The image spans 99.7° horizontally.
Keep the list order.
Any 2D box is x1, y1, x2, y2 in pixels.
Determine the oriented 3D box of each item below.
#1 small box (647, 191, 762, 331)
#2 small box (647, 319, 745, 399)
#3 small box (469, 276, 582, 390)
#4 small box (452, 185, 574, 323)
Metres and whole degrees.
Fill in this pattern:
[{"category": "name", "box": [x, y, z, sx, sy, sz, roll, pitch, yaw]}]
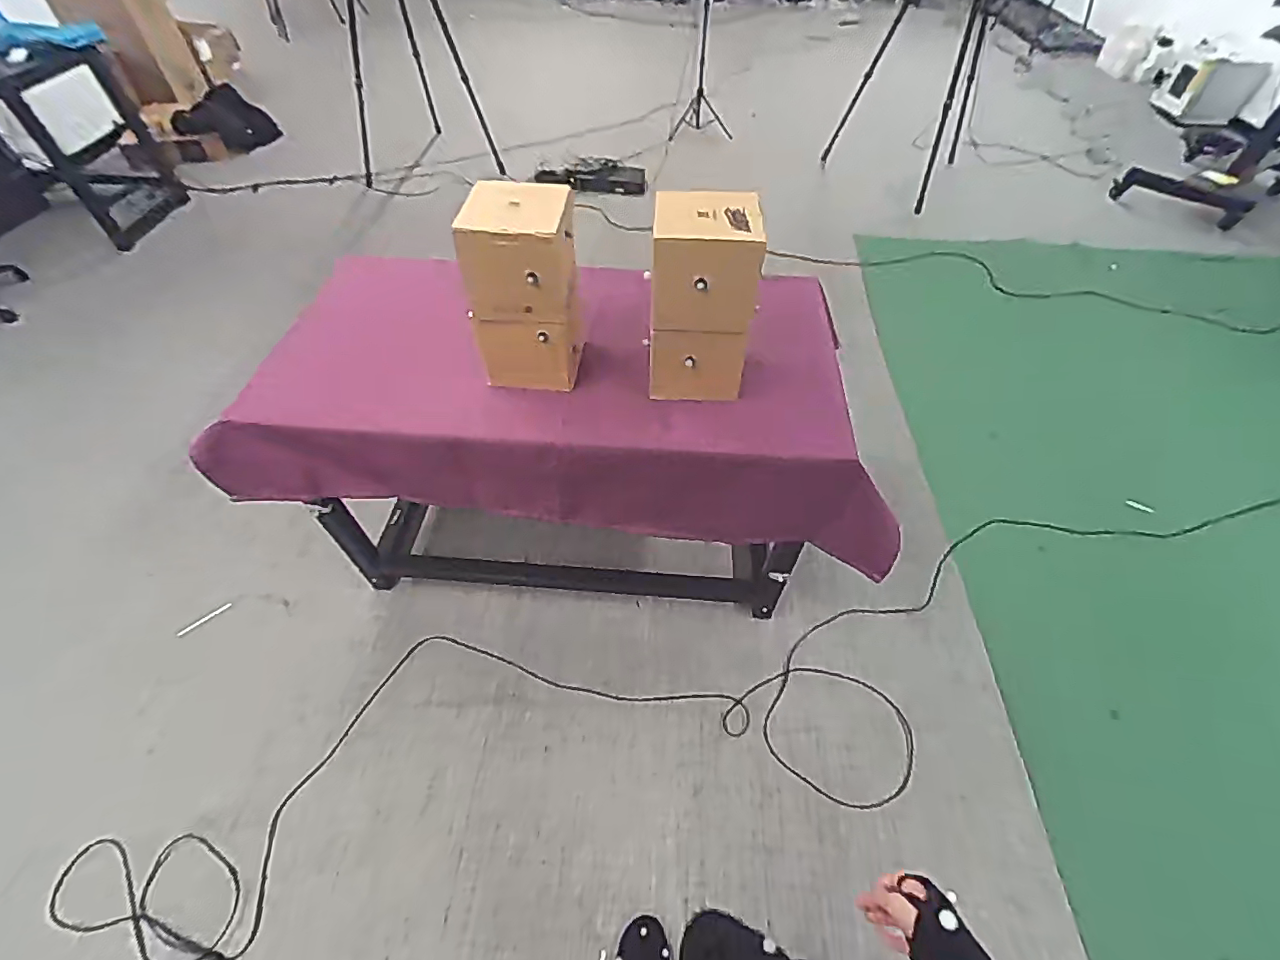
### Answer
[{"category": "small box", "box": [0.105, -0.375, 0.937, 0.179, 0.176, 0.168, 2, 51, 2]}, {"category": "small box", "box": [0.105, -0.275, 1.068, 0.179, 0.176, 0.168, 1, 51, 1]}, {"category": "small box", "box": [-0.220, -0.298, 1.090, 0.179, 0.176, 0.168, 4, 51, 2]}, {"category": "small box", "box": [-0.213, -0.399, 0.963, 0.168, 0.176, 0.179, 4, 50, 1]}]
